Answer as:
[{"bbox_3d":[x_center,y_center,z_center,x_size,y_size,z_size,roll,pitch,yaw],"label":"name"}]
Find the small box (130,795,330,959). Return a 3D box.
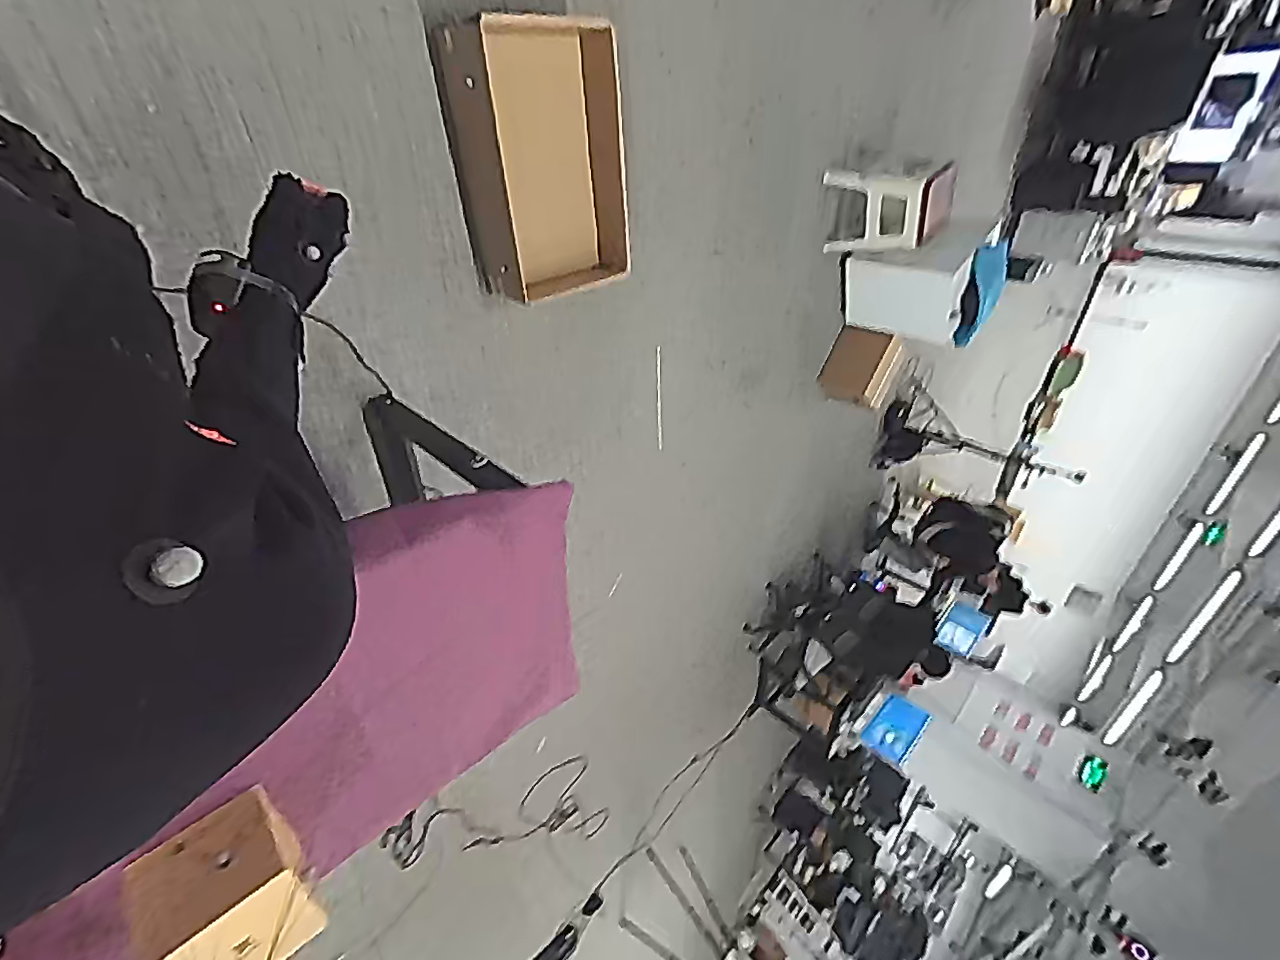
[{"bbox_3d":[-0.591,0.602,0.784,0.168,0.176,0.179,-29,132,-36],"label":"small box"}]
